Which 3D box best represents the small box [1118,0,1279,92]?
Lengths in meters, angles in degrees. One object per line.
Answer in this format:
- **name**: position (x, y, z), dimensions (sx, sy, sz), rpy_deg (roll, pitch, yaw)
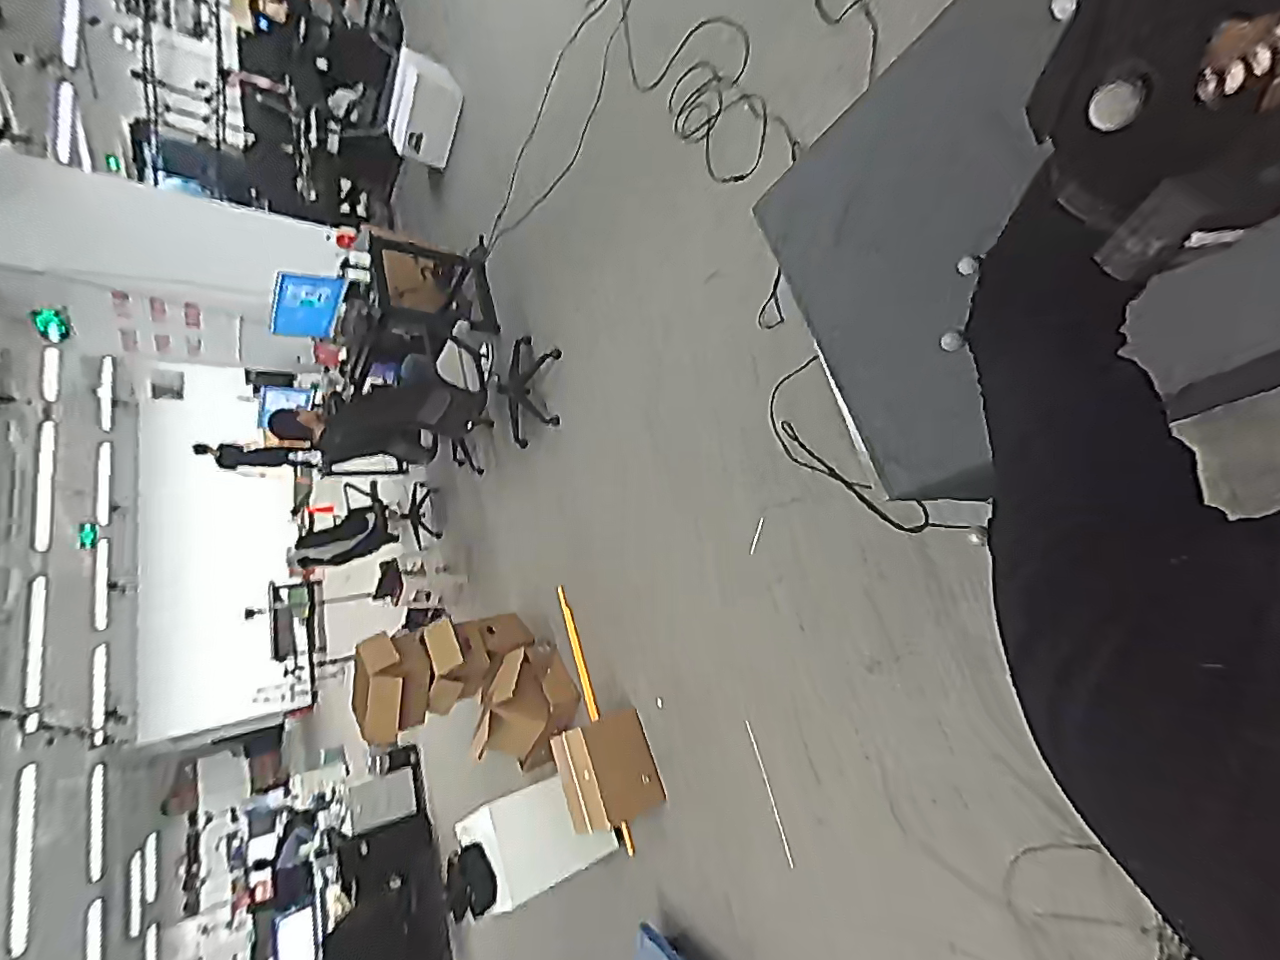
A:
- **small box**: position (0.429, -0.418, 0.356), dimensions (0.179, 0.176, 0.168), rpy_deg (-36, 63, 46)
